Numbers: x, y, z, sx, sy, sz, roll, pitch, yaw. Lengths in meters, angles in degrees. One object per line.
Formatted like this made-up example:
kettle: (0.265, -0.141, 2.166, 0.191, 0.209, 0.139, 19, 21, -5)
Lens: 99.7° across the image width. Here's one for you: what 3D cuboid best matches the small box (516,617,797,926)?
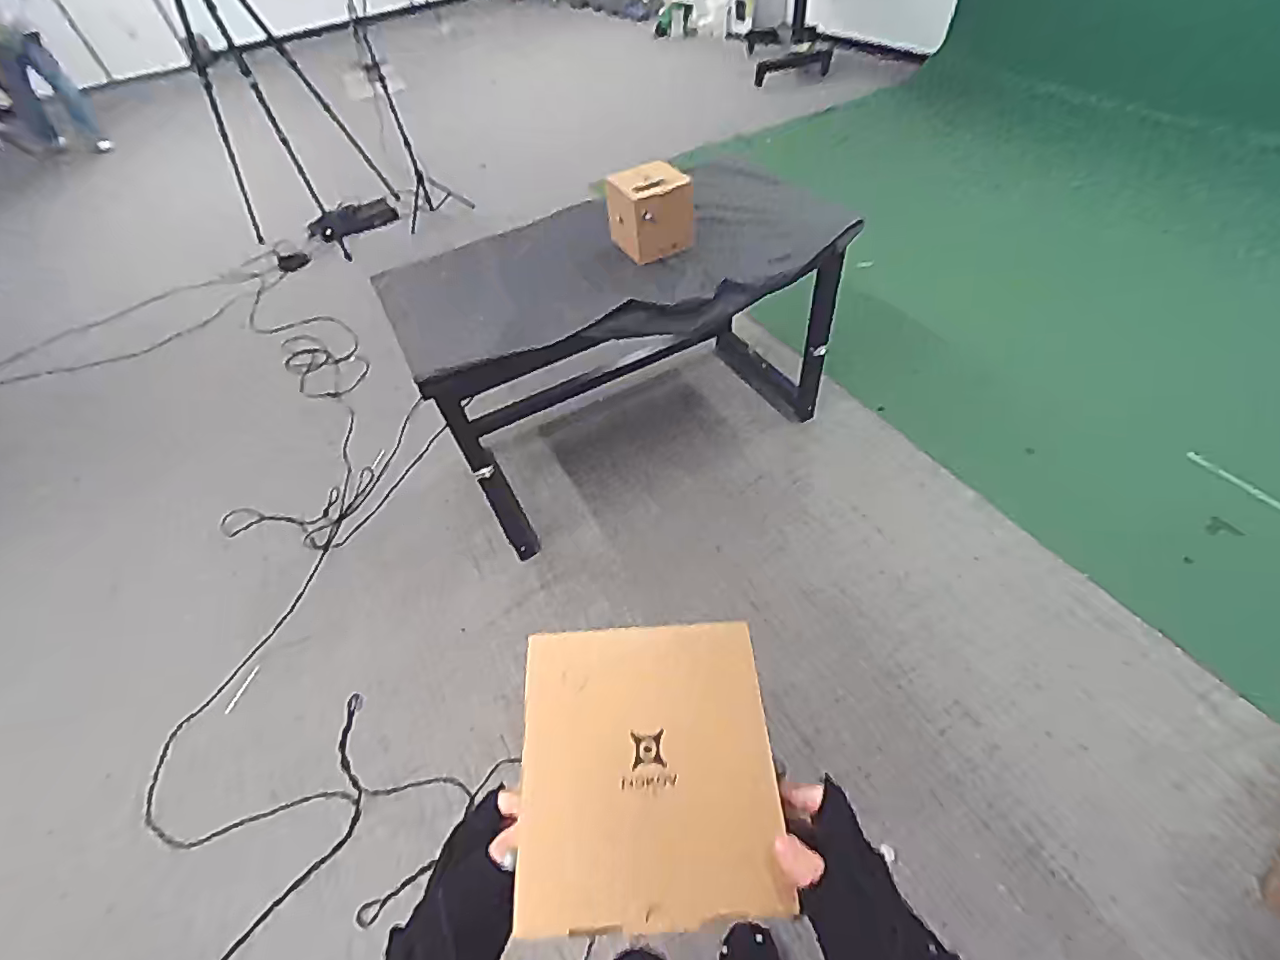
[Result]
small box: (0.002, 0.225, 0.422, 0.168, 0.176, 0.179, -3, 55, -4)
